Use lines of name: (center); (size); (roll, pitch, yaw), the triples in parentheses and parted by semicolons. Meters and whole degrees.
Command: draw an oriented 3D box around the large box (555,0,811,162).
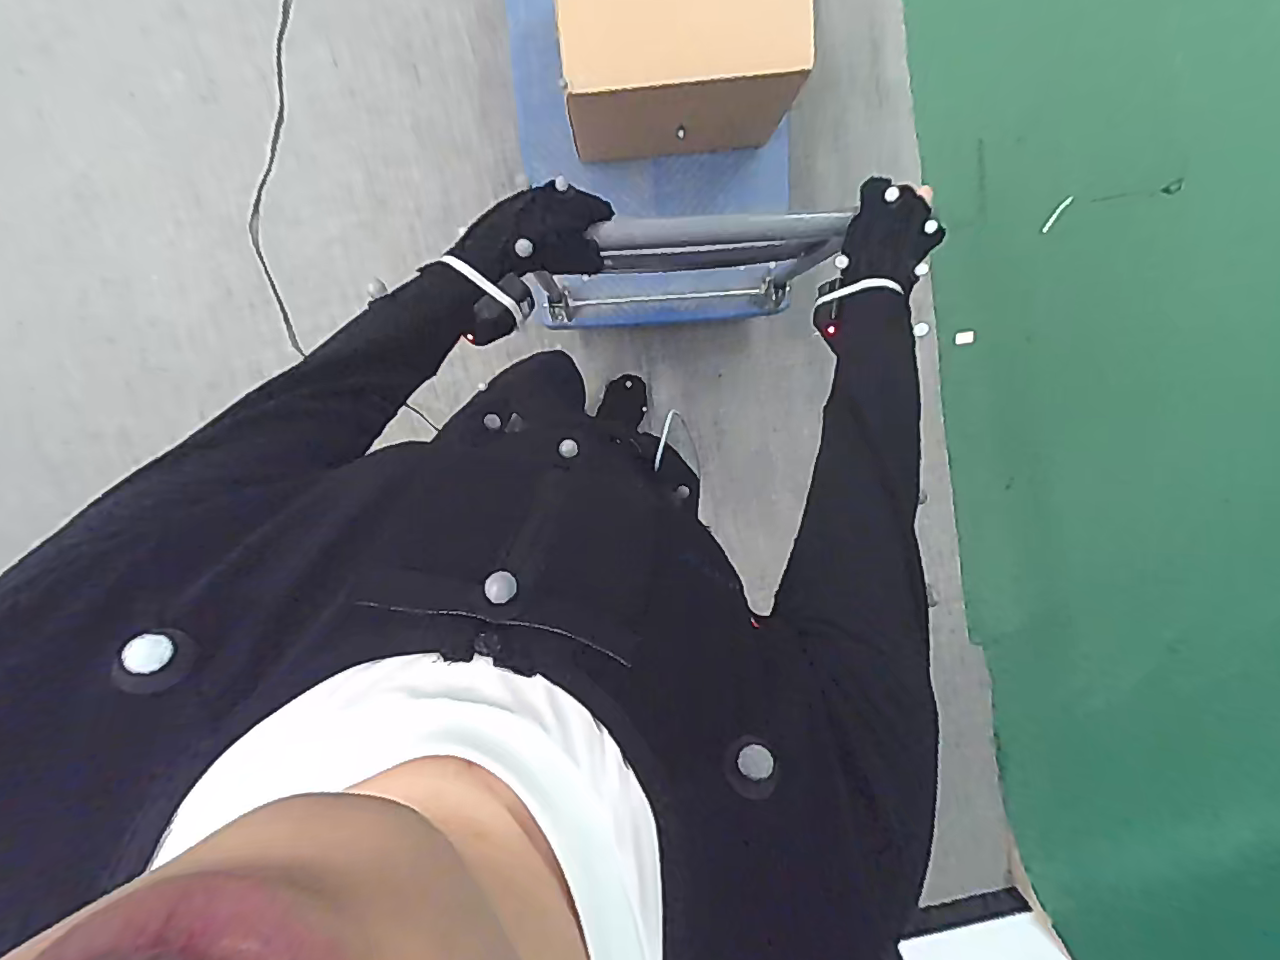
large box: (0.061, -0.821, 0.989); (0.408, 0.320, 0.320); (-7, 101, 0)
